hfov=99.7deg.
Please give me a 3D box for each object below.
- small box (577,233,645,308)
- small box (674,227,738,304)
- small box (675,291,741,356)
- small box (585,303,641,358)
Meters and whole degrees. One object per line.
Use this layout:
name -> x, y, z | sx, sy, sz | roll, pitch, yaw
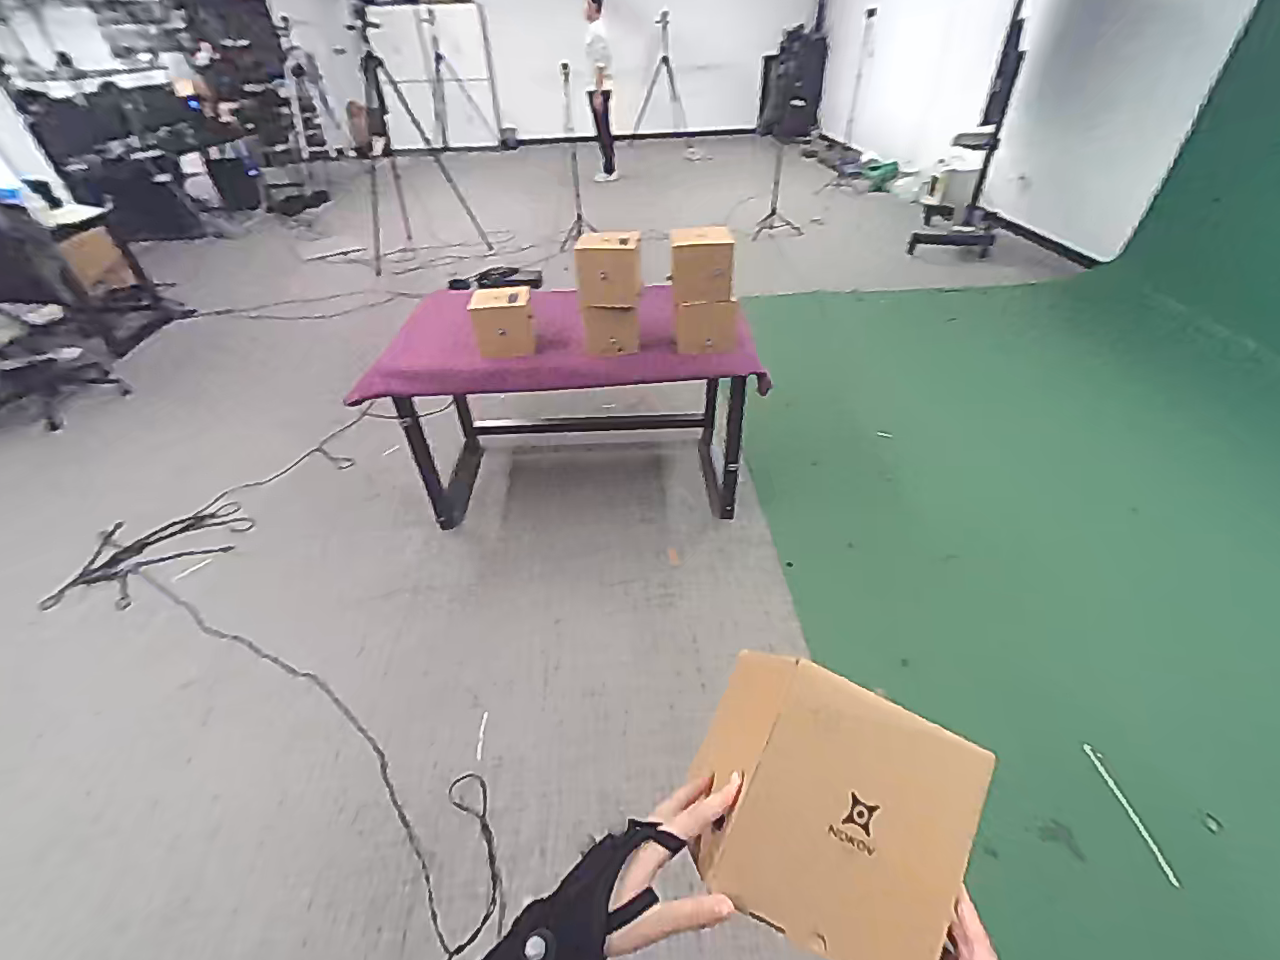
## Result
small box -> -0.078, -0.619, 1.603 | 0.179, 0.176, 0.168 | 2, 39, 7
small box -> 0.190, -0.636, 1.608 | 0.179, 0.176, 0.168 | -2, 40, 2
small box -> 0.209, -0.506, 1.707 | 0.179, 0.176, 0.168 | -5, 40, -3
small box -> -0.088, -0.506, 1.726 | 0.168, 0.176, 0.179 | -7, 39, -4
